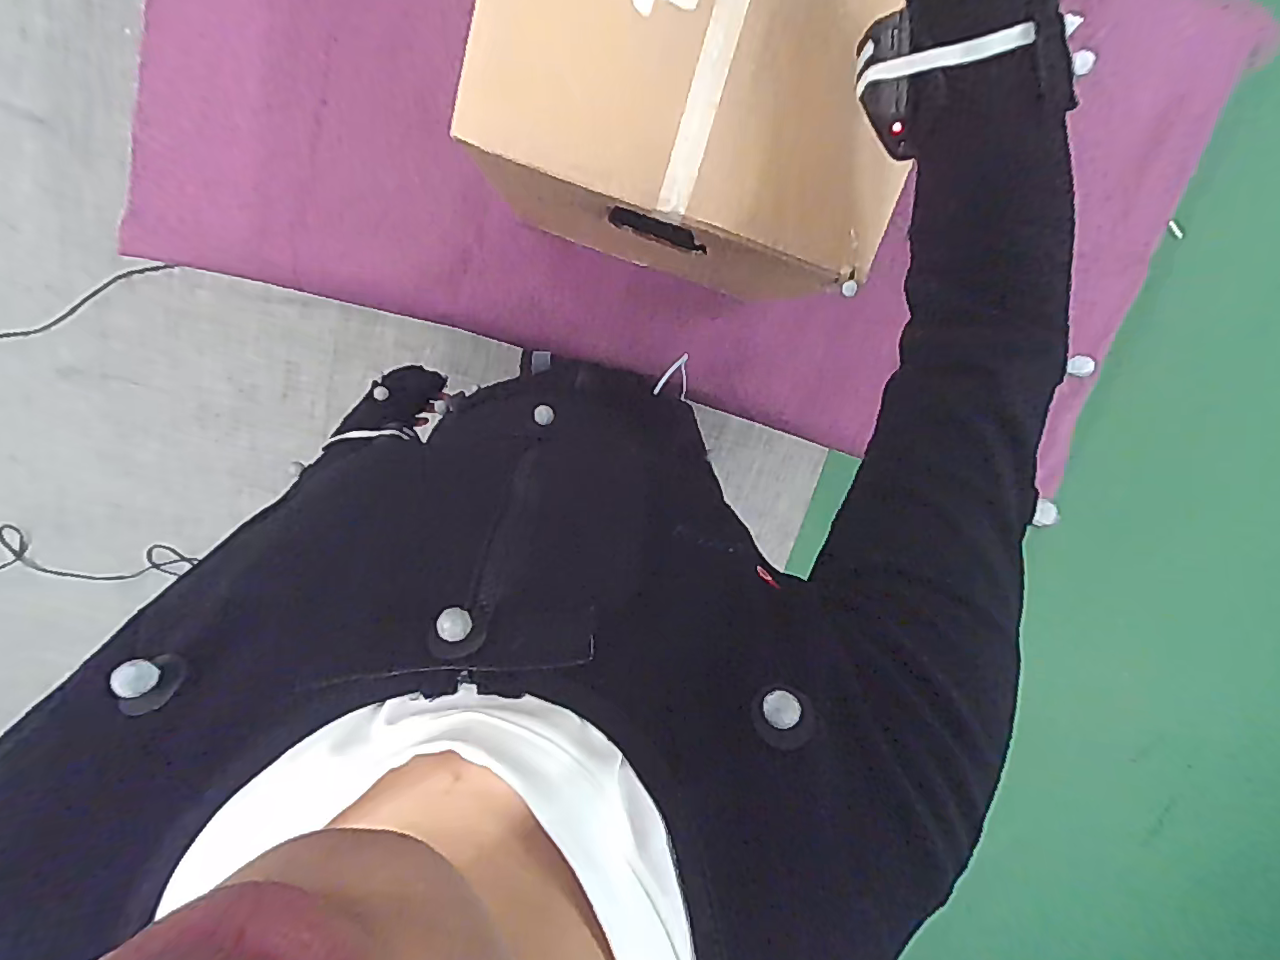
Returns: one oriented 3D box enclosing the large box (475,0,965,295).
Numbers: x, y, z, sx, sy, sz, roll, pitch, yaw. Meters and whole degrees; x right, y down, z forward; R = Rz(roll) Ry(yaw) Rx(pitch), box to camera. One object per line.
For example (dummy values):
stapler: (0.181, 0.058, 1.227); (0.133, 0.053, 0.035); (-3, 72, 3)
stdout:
large box: (0.072, -0.422, 0.499); (0.320, 0.320, 0.408); (17, 105, -8)
